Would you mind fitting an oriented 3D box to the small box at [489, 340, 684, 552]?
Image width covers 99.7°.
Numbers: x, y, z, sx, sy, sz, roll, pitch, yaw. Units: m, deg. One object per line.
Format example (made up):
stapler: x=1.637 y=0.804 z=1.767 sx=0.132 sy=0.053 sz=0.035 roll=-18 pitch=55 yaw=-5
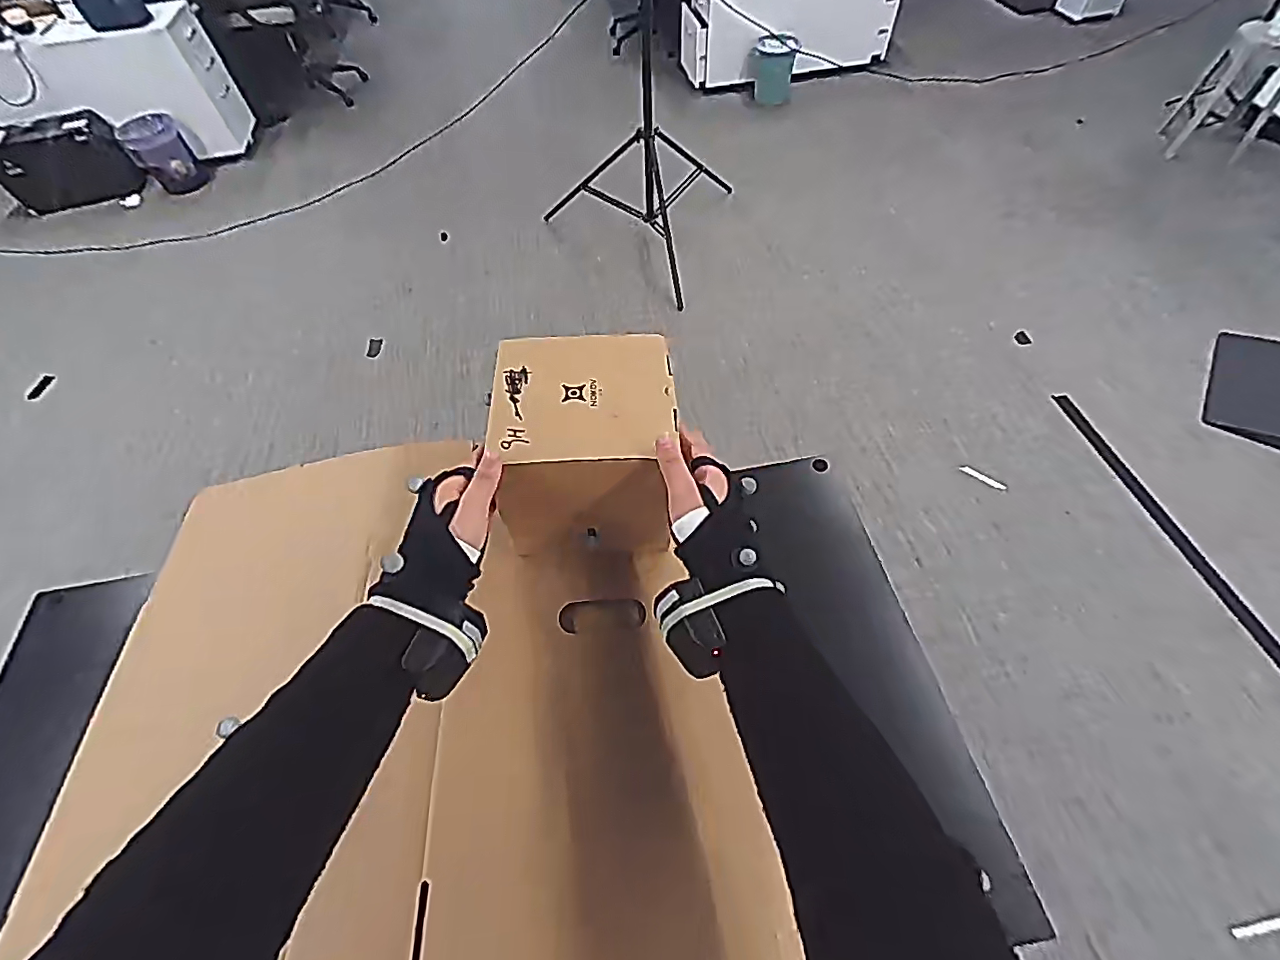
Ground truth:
small box: x=-0.054 y=-0.033 z=0.590 sx=0.179 sy=0.176 sz=0.168 roll=-2 pitch=54 yaw=-4
